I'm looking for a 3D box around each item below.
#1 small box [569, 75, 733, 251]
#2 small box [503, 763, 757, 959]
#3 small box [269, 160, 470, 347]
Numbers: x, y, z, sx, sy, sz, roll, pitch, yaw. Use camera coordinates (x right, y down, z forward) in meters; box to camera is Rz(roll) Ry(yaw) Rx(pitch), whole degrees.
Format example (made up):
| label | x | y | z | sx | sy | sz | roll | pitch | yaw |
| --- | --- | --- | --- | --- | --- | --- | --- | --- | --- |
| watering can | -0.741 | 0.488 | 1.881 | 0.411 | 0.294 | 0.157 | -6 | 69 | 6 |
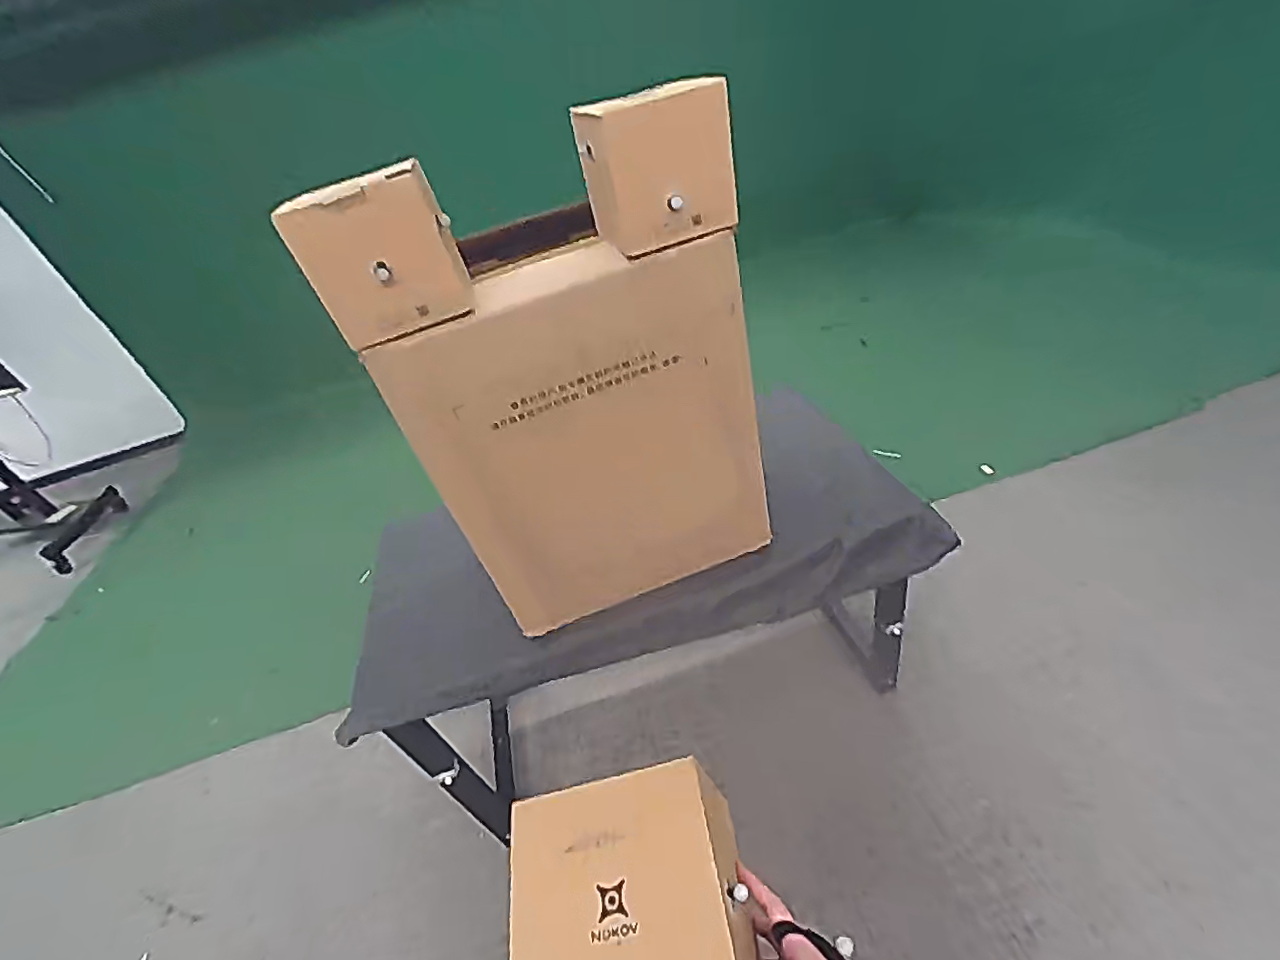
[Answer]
| label | x | y | z | sx | sy | sz | roll | pitch | yaw |
| --- | --- | --- | --- | --- | --- | --- | --- | --- | --- |
| small box | 0.015 | -0.433 | 0.746 | 0.168 | 0.176 | 0.179 | -20 | 39 | -6 |
| small box | -0.002 | 0.370 | 0.455 | 0.168 | 0.176 | 0.179 | -18 | 45 | 5 |
| small box | -0.338 | -0.296 | 0.716 | 0.168 | 0.176 | 0.179 | -22 | 38 | -4 |
